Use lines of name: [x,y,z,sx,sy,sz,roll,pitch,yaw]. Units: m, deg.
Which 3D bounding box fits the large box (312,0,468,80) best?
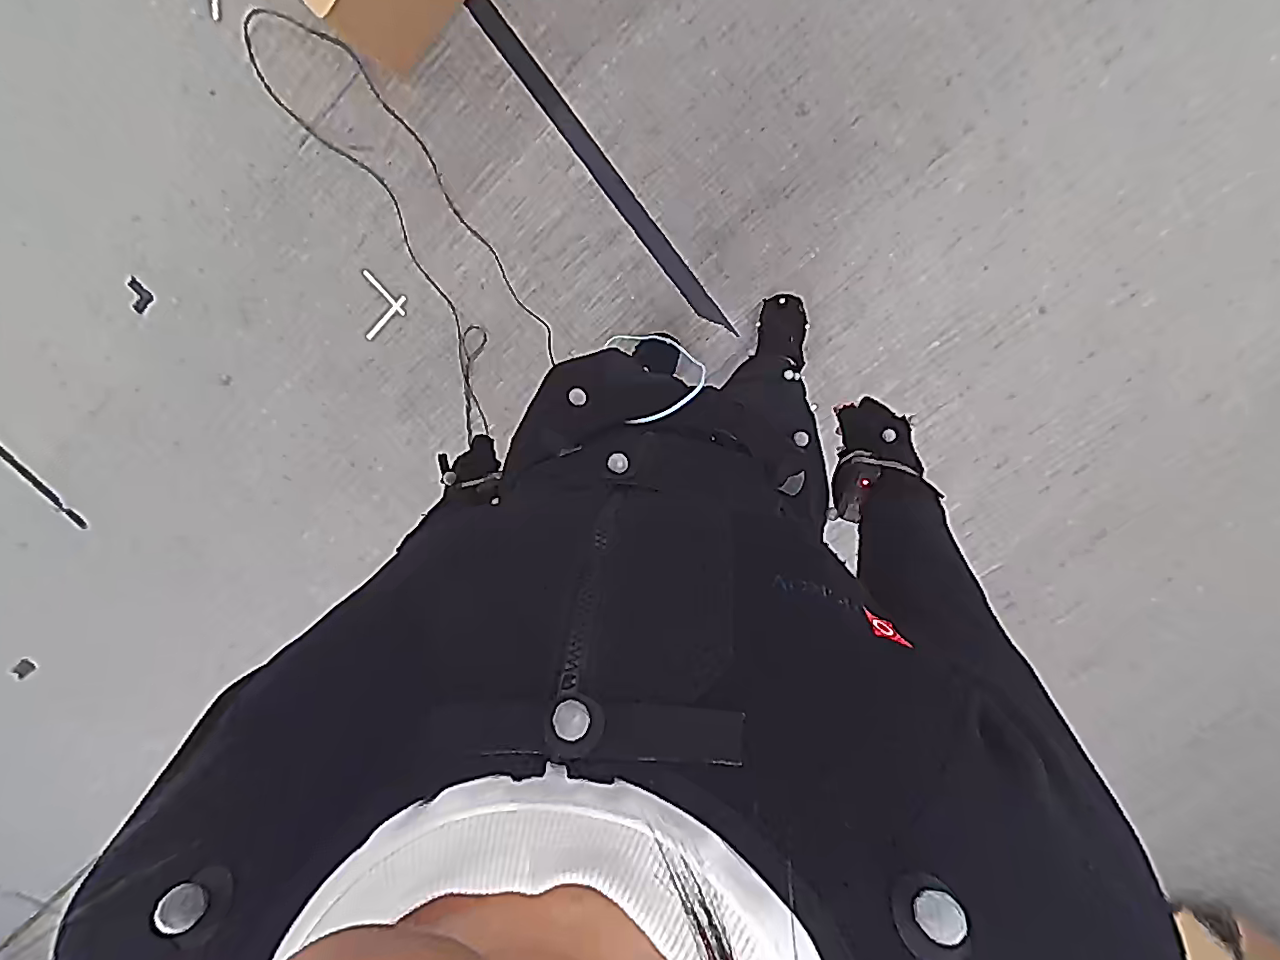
large box: [-0.493,-1.077,0.996,0.408,0.320,0.320,-42,102,15]
